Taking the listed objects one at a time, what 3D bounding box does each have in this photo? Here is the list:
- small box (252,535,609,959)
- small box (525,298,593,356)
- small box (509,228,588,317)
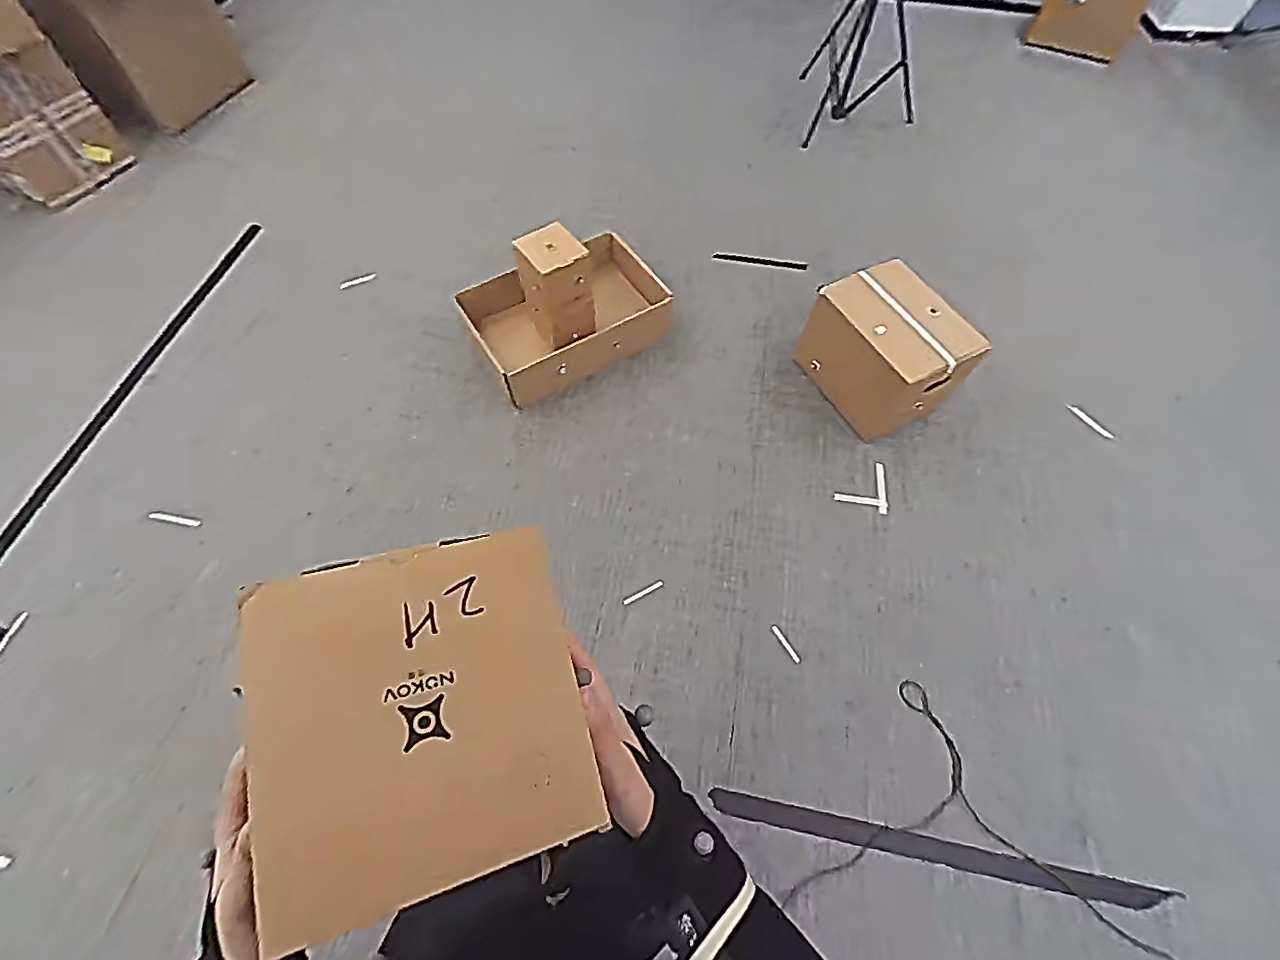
[{"bbox_3d":[-0.132,0.155,0.366,0.168,0.176,0.179,-10,72,-20],"label":"small box"},{"bbox_3d":[-0.271,-0.550,1.799,0.168,0.176,0.179,-30,67,-16],"label":"small box"},{"bbox_3d":[-0.273,-0.626,1.656,0.168,0.176,0.179,-34,66,-19],"label":"small box"}]
